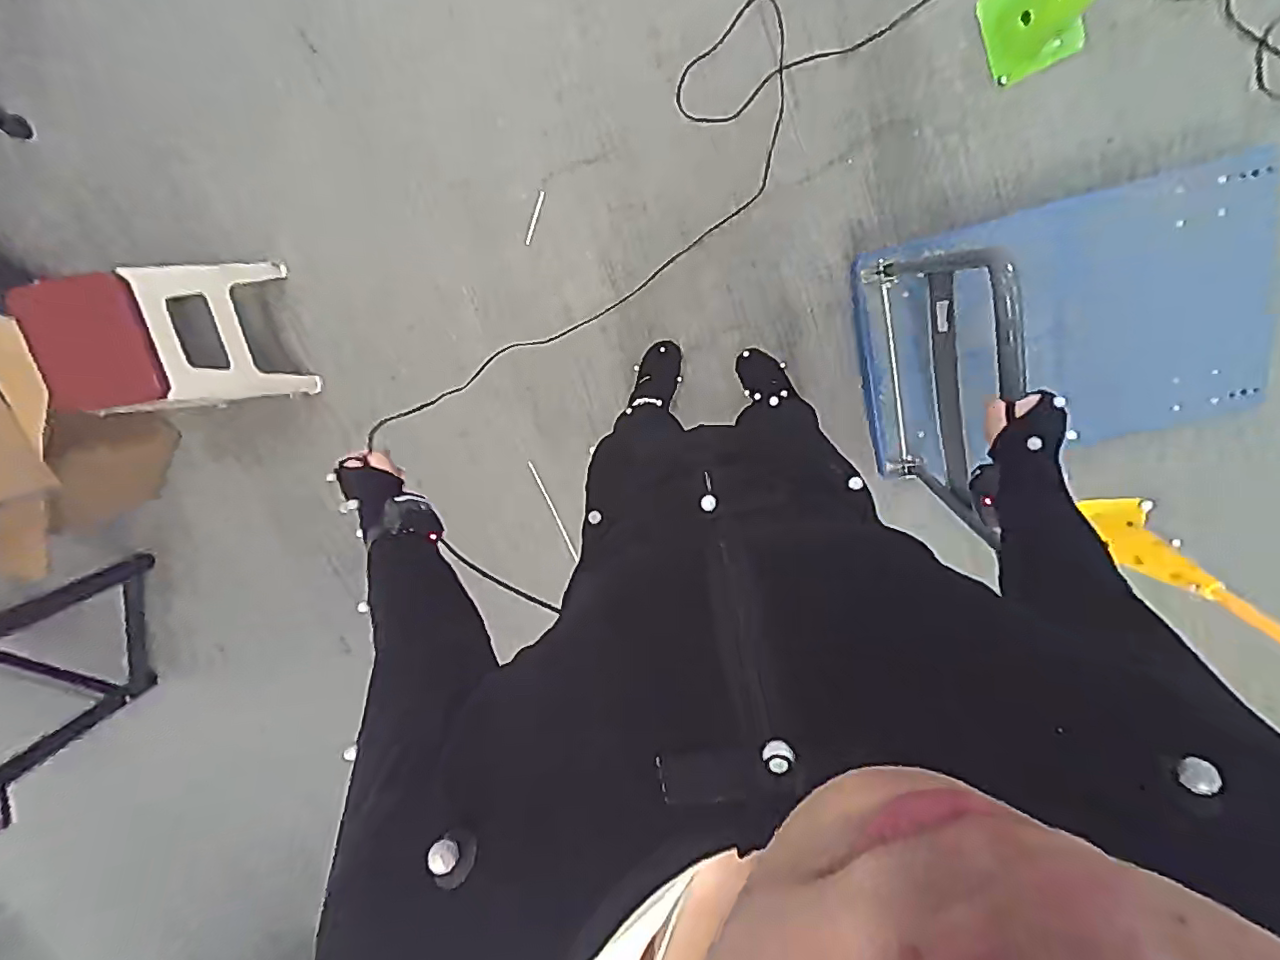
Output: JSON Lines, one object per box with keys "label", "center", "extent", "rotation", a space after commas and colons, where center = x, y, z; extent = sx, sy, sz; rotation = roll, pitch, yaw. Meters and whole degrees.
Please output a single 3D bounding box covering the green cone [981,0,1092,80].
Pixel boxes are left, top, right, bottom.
{"label": "green cone", "center": [0.880, -1.002, 1.059], "extent": [0.200, 0.368, 0.202], "rotation": [-23, 102, 12]}
